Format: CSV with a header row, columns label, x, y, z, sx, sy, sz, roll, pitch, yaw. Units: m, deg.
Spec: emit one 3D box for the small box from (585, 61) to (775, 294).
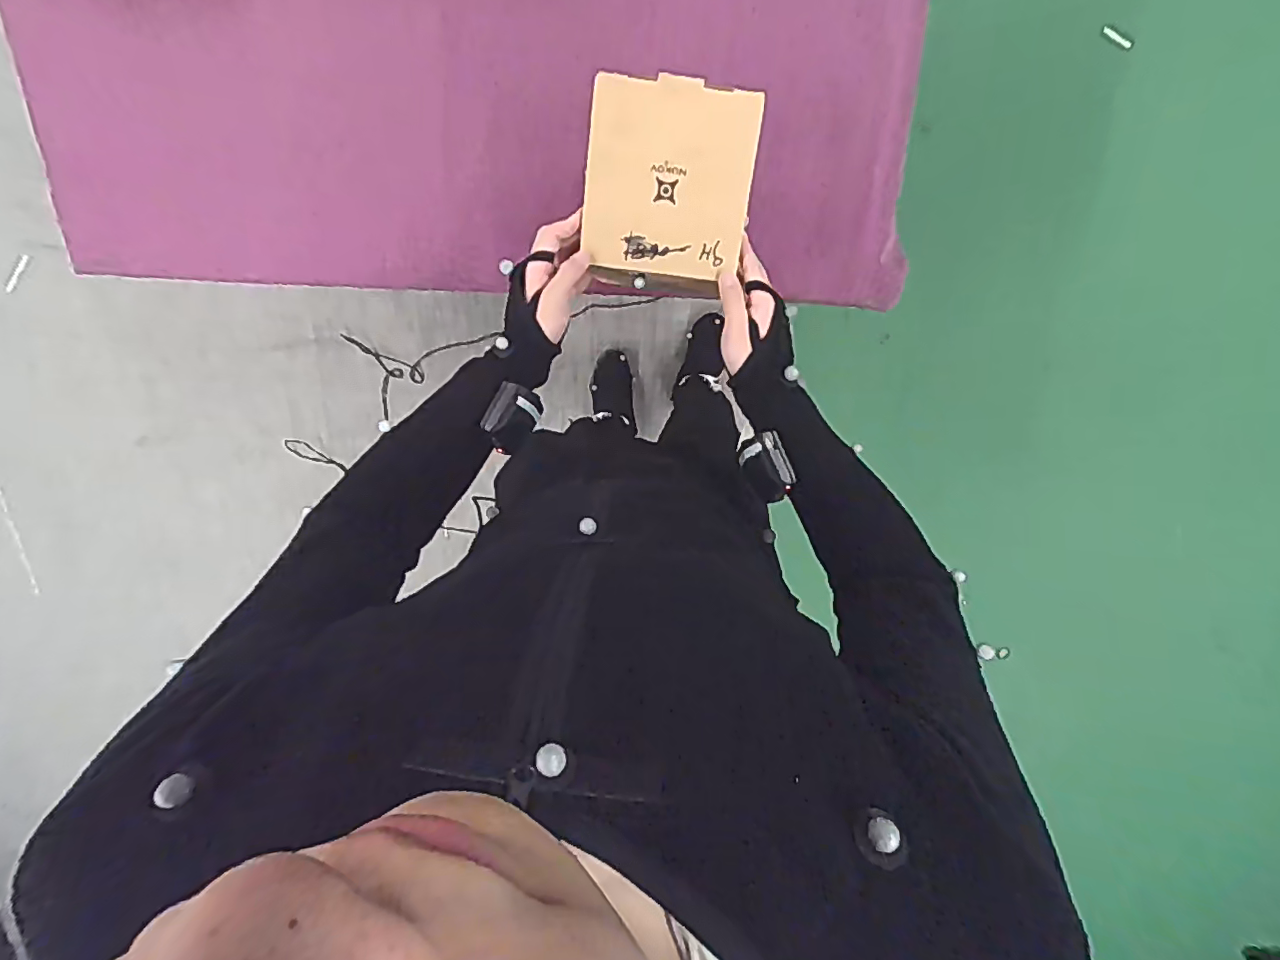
label,x,y,z,sx,sy,sz,roll,pitch,yaw
small box,0.038,-0.317,0.604,0.168,0.176,0.179,8,104,0
